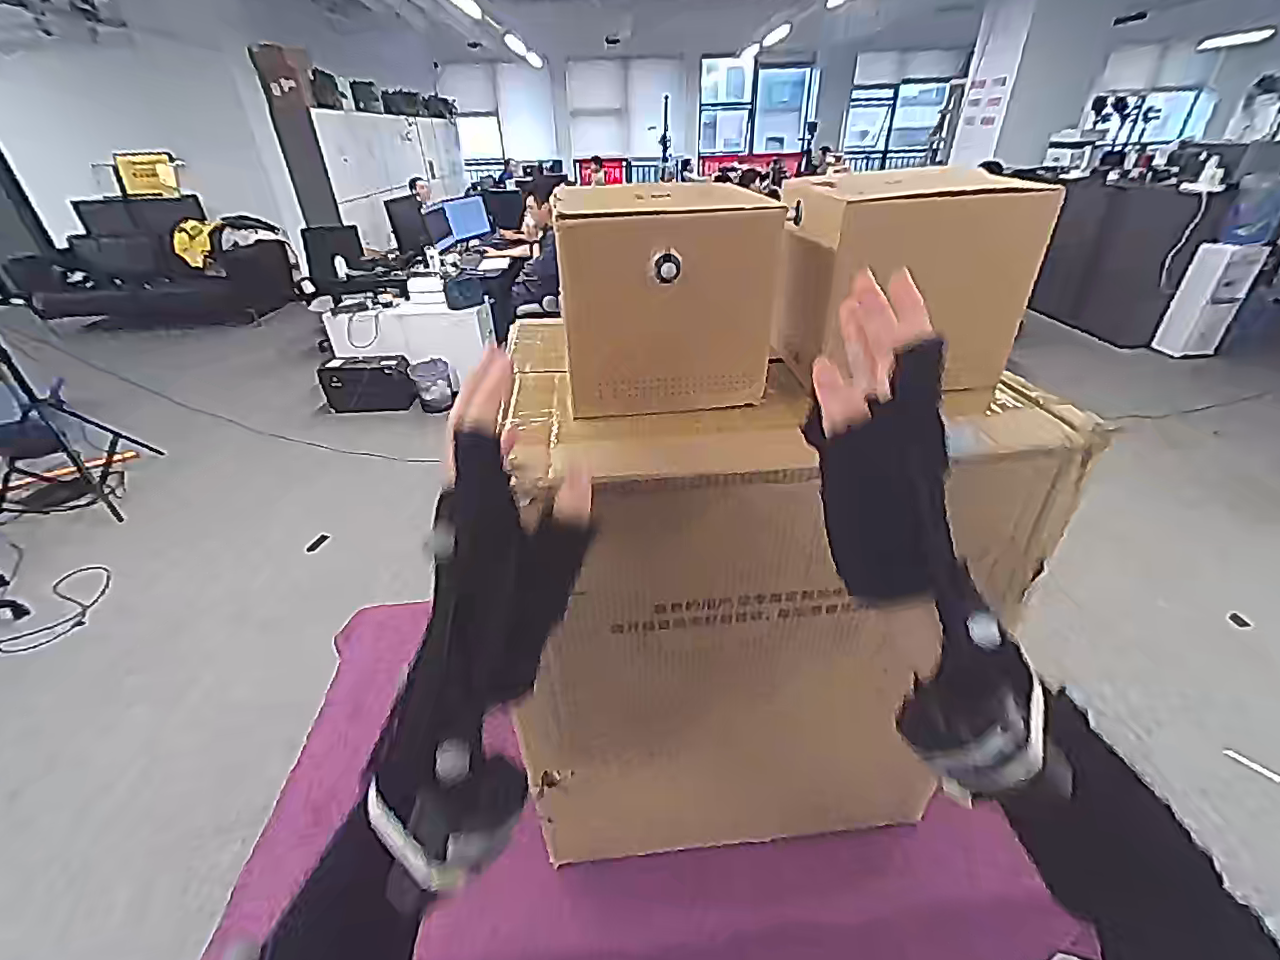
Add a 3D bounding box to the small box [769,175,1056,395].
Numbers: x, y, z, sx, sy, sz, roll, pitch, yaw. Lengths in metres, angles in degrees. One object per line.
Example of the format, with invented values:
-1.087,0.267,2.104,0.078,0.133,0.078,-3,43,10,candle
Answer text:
0.237,-0.193,0.527,0.179,0.176,0.168,-4,33,-2,small box
